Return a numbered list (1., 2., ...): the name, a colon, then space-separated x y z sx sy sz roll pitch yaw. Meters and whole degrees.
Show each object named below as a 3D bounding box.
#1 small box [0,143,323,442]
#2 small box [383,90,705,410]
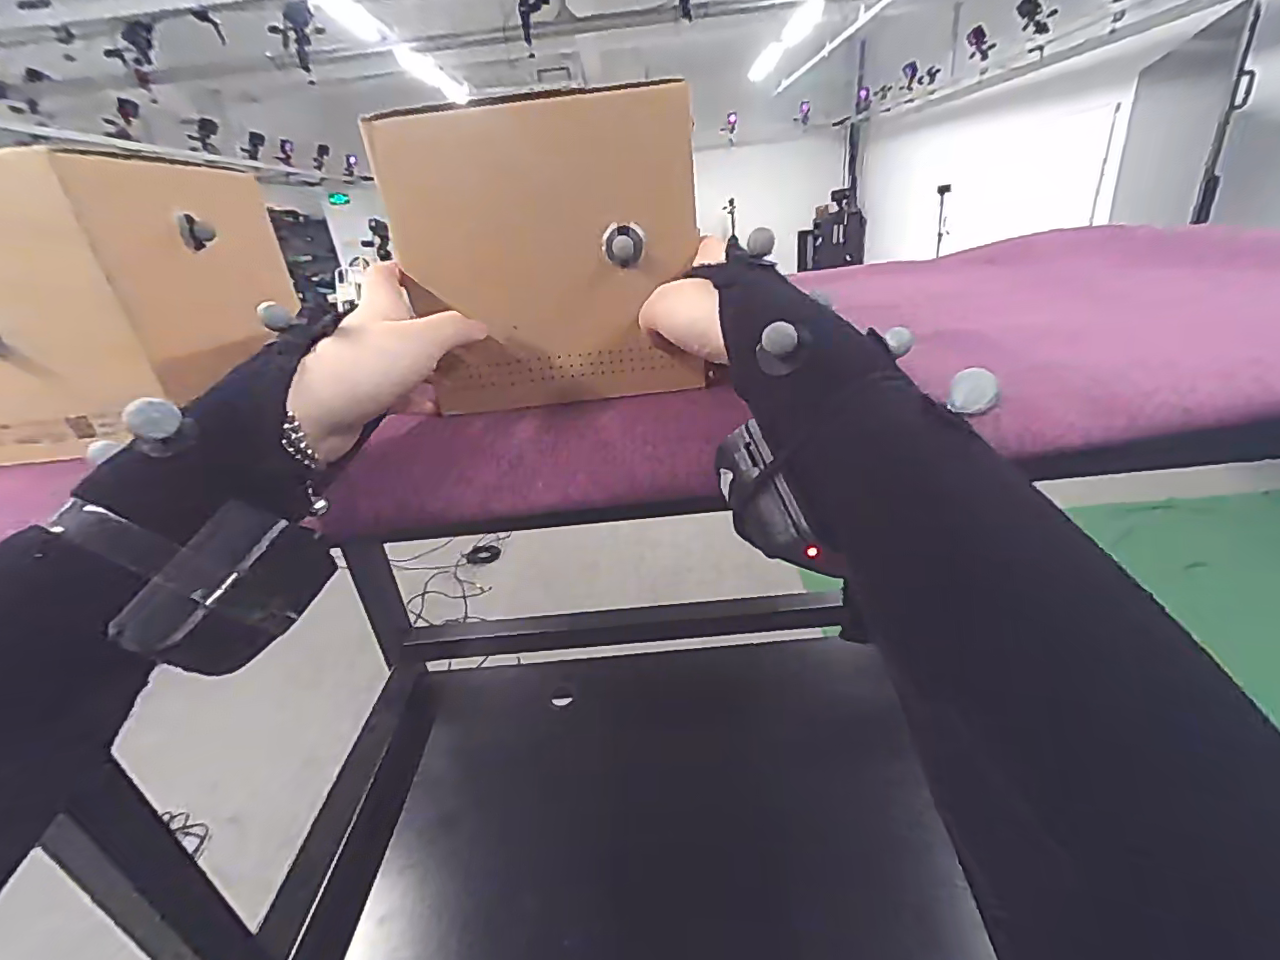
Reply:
1. small box: -0.368 -0.131 0.393 0.168 0.176 0.179 -4 26 0
2. small box: -0.048 -0.160 0.396 0.179 0.176 0.168 -7 25 1
